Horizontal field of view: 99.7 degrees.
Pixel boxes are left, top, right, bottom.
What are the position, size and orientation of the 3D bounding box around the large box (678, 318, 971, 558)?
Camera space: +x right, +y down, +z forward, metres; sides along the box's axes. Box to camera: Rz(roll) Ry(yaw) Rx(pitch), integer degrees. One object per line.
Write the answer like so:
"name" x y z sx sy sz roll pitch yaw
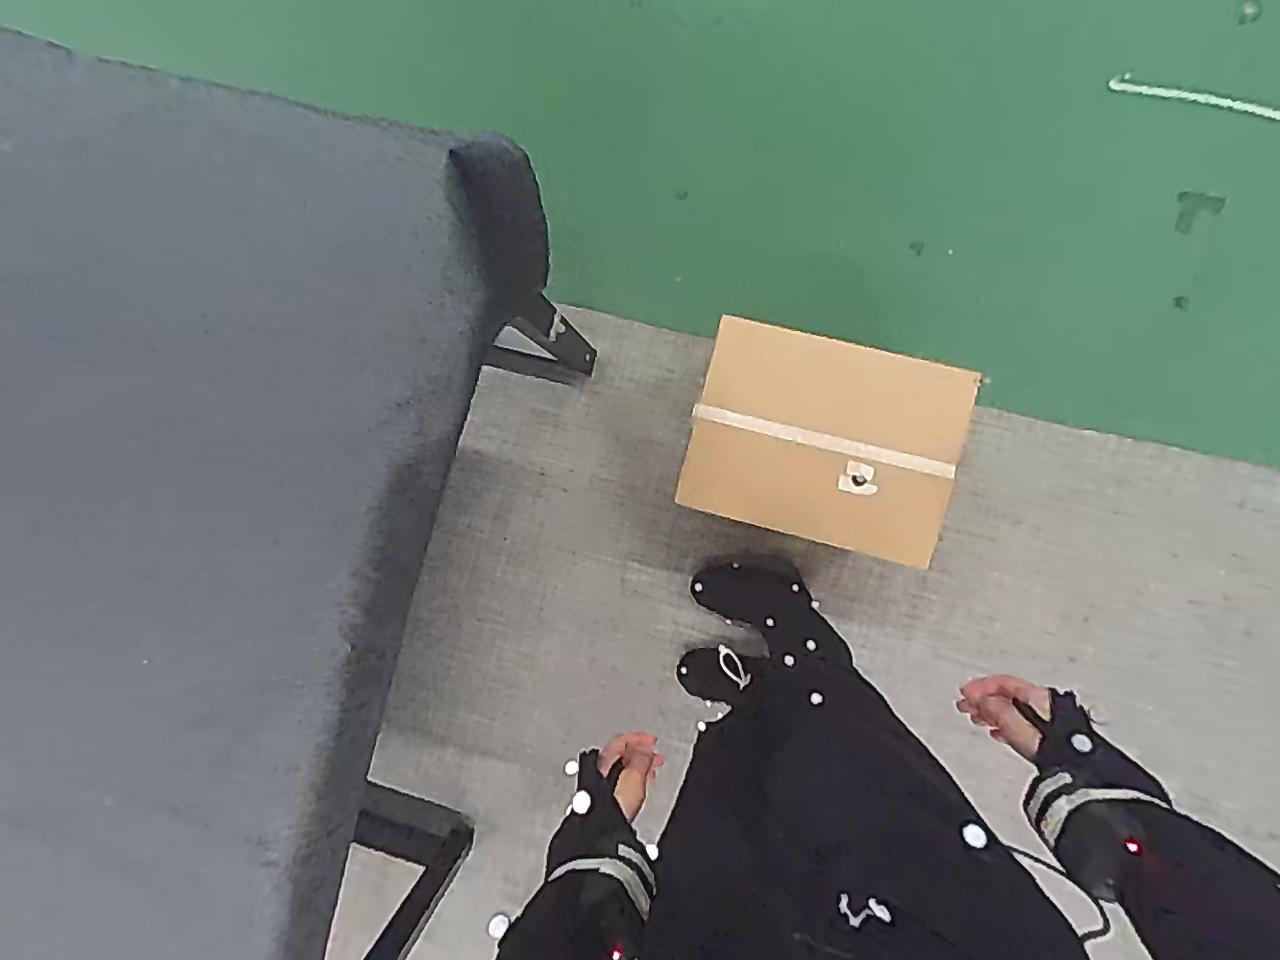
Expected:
"large box" 0.297 -0.069 1.000 0.408 0.320 0.320 14 92 5
